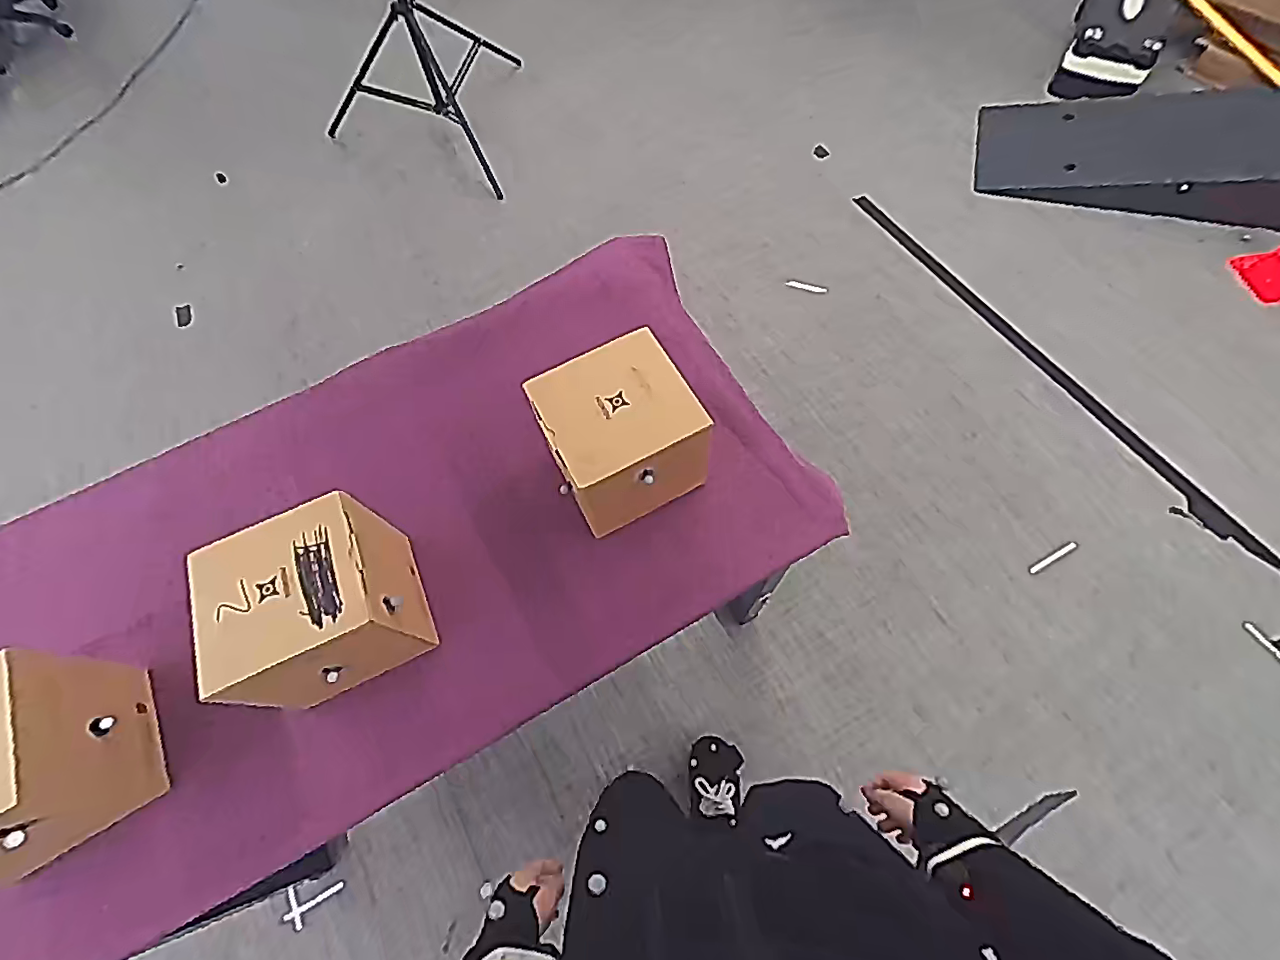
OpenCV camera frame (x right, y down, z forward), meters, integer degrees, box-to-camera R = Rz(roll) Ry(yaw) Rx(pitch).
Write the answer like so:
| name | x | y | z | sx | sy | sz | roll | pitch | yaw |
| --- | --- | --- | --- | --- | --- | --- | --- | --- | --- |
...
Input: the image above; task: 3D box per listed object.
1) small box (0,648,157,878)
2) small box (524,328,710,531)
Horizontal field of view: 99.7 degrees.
| name | x | y | z | sx | sy | sz | roll | pitch | yaw |
| --- | --- | --- | --- | --- | --- | --- | --- | --- | --- |
| small box | -0.671 | 0.307 | 0.580 | 0.179 | 0.176 | 0.168 | -30 | 65 | -10 |
| small box | -0.025 | -0.057 | 0.708 | 0.179 | 0.176 | 0.168 | -26 | 67 | -9 |
